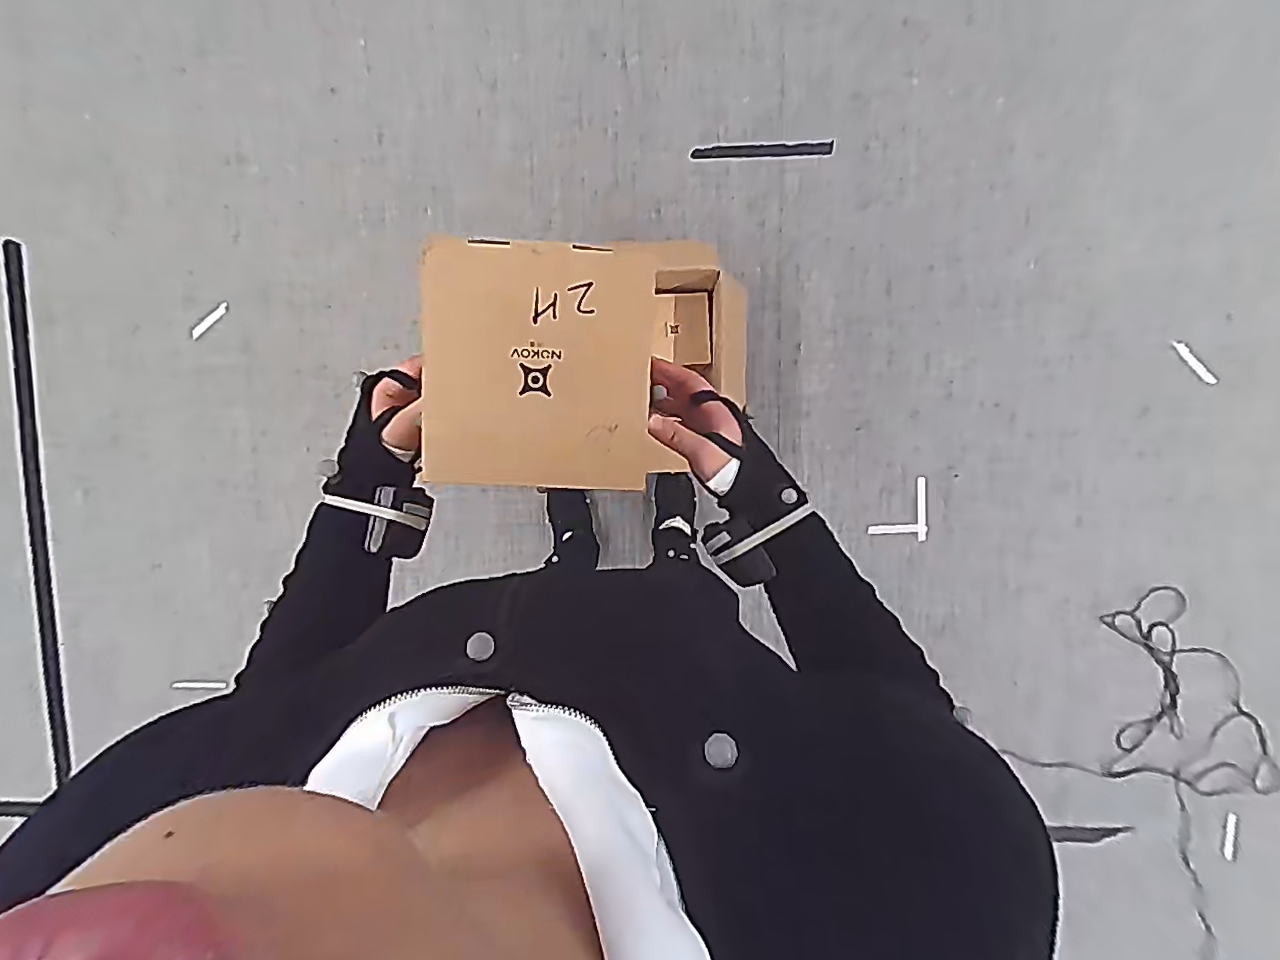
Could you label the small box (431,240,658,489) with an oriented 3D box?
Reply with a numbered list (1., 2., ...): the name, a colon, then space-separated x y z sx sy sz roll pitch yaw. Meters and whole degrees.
1. small box: -0.074 -0.093 0.482 0.168 0.176 0.179 3 96 -2
